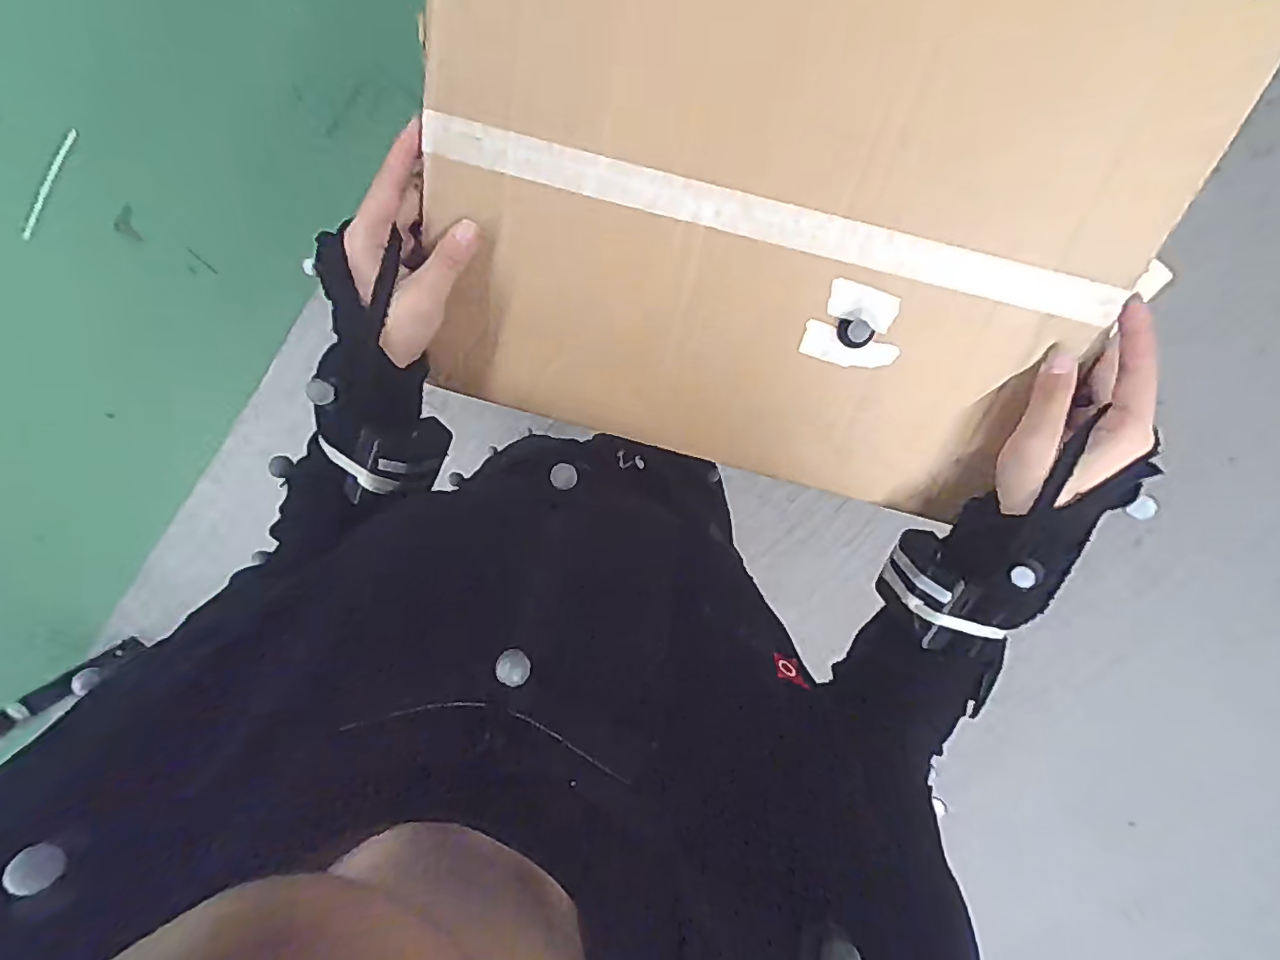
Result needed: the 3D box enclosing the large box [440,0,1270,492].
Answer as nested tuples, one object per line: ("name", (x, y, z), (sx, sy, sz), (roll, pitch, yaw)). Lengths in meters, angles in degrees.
("large box", (0.092, -0.232, 0.445), (0.408, 0.320, 0.320), (13, 120, -1))
